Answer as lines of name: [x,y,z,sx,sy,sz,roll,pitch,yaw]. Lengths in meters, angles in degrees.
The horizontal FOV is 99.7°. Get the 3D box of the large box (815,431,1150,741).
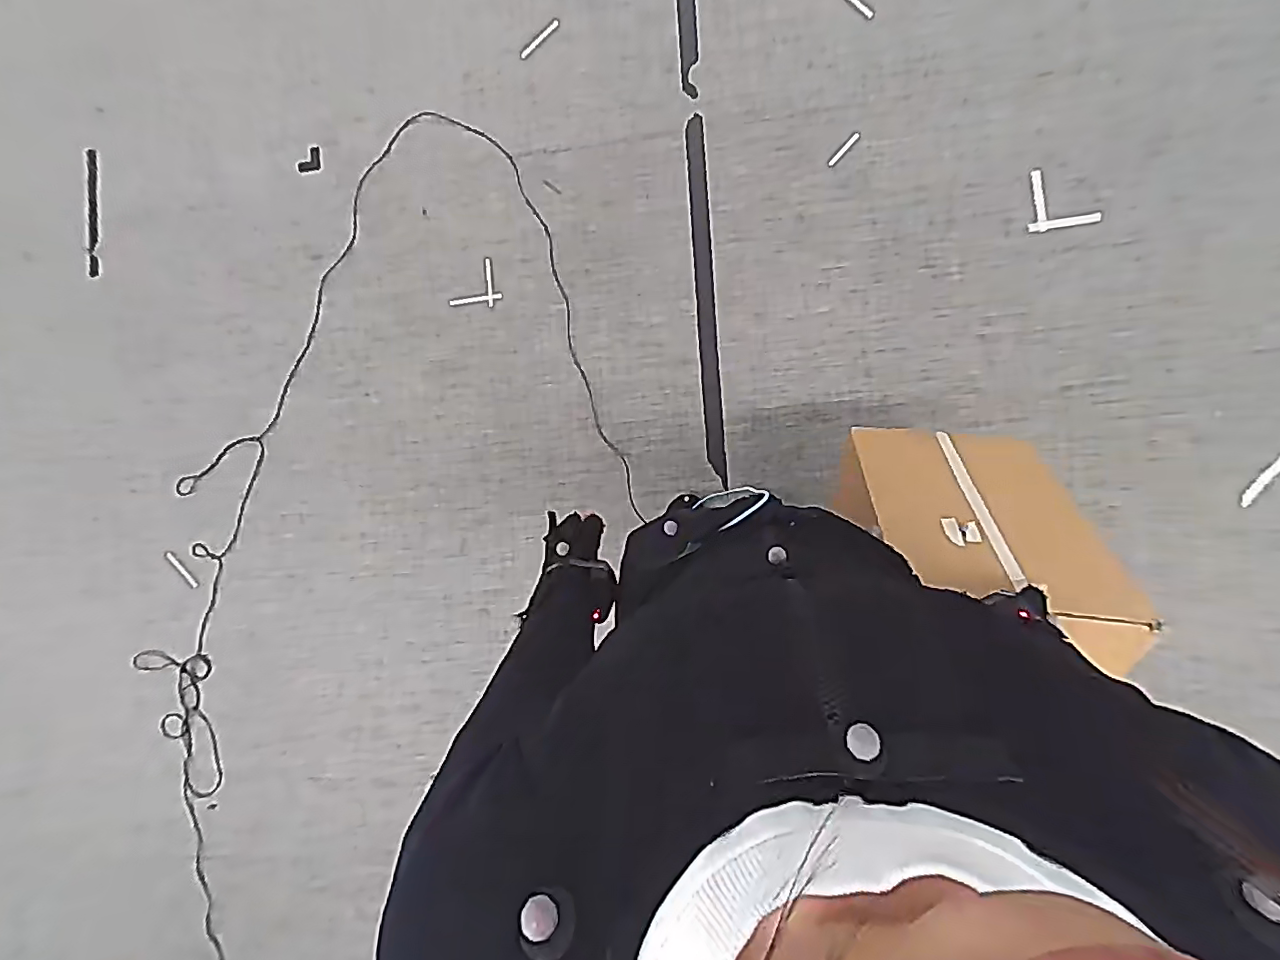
large box: [0.504,0.162,0.924,0.320,0.408,0.320,4,130,7]
